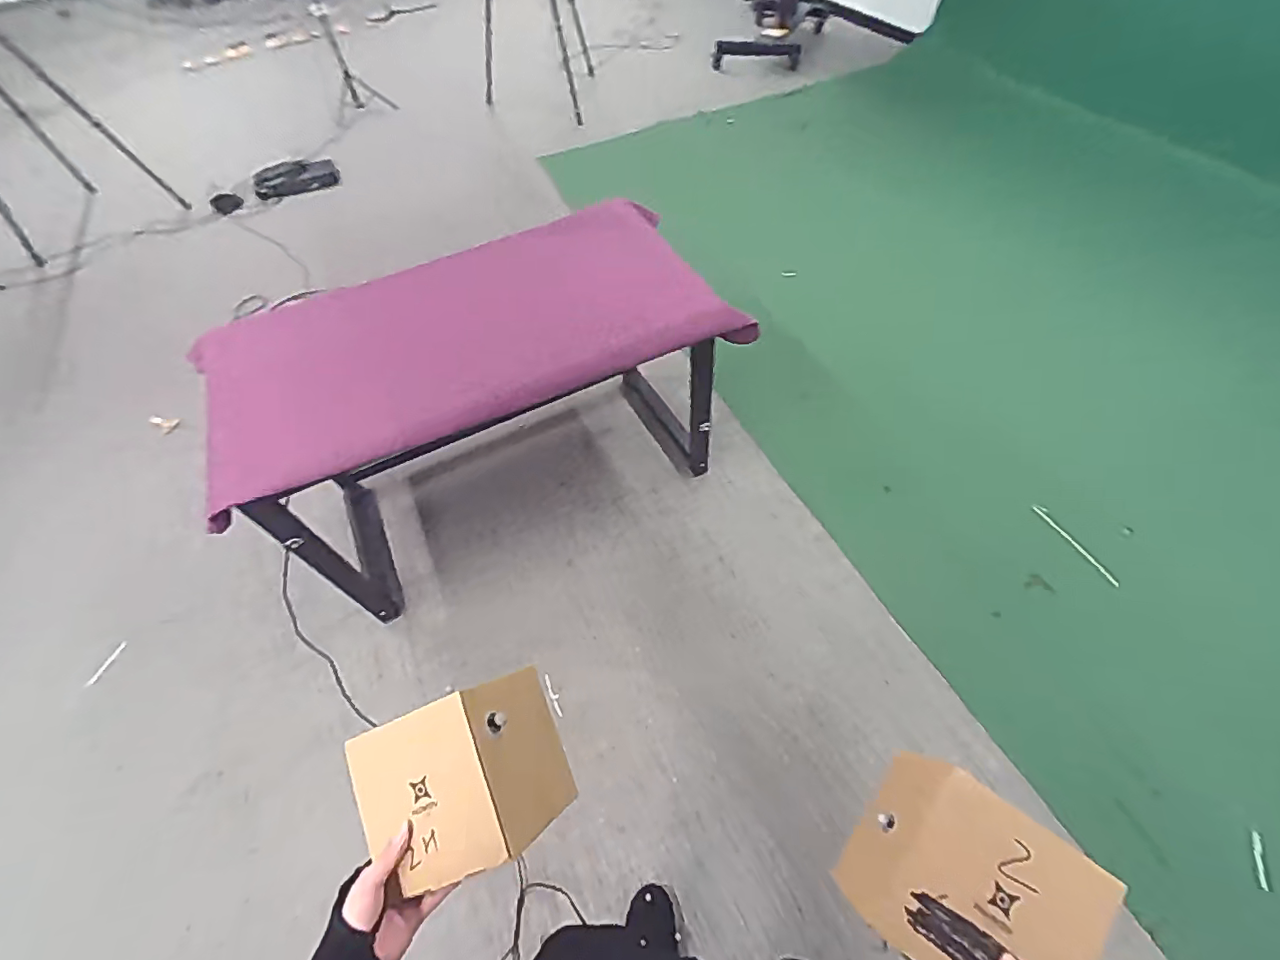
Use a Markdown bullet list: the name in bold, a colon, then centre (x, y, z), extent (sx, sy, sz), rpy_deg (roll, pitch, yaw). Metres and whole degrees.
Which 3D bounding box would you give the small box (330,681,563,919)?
- **small box**: centre (-0.216, 0.351, 0.635), extent (0.168, 0.176, 0.179), rpy_deg (-27, 74, 12)
